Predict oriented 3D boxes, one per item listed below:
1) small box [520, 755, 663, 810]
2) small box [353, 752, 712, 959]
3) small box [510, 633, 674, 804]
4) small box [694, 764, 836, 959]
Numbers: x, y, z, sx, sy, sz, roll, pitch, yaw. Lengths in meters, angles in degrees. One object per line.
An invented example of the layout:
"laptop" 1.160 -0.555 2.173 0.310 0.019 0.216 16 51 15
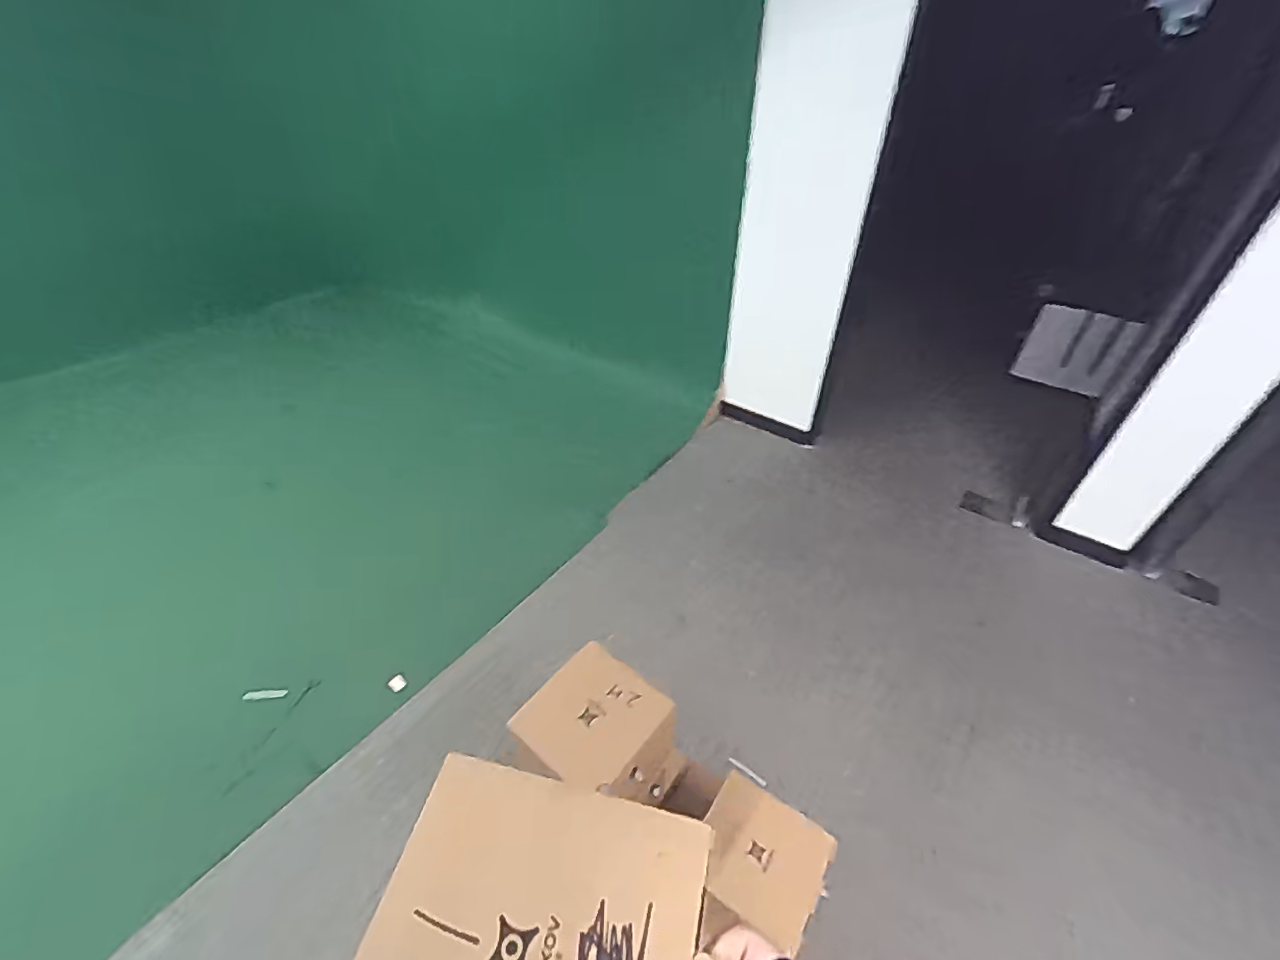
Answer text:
"small box" -0.076 0.505 0.909 0.168 0.176 0.179 29 49 27
"small box" -0.061 0.303 0.342 0.179 0.176 0.168 10 48 10
"small box" -0.066 0.376 0.808 0.168 0.176 0.179 31 50 28
"small box" 0.167 0.585 0.823 0.179 0.176 0.168 26 46 28
